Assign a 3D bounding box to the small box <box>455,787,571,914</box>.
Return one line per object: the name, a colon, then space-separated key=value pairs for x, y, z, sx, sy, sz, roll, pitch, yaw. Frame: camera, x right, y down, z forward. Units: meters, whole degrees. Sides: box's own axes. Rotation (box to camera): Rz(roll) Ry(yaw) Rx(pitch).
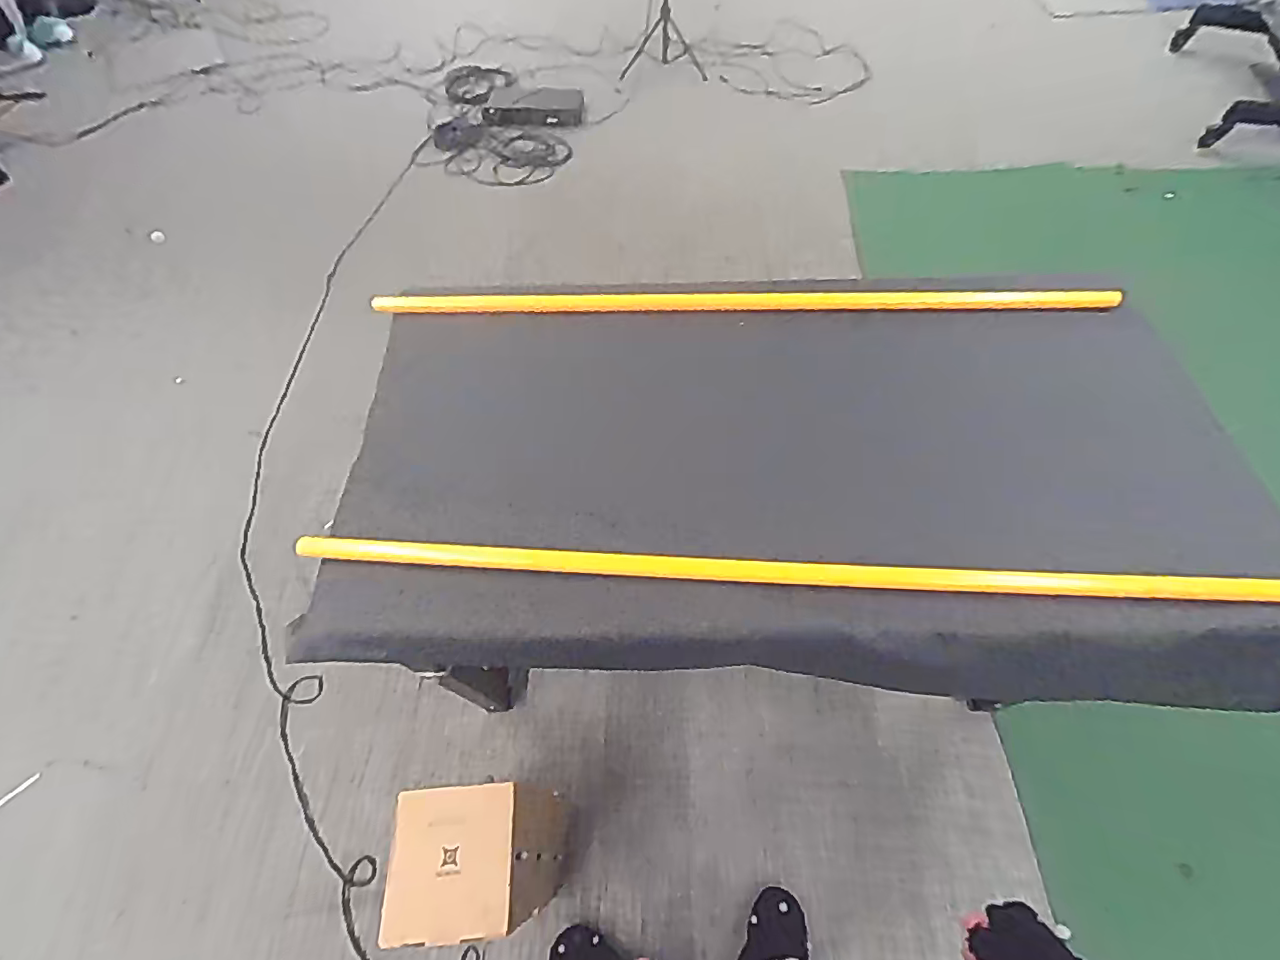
small box: x=-0.238 y=0.721 z=1.070 sx=0.168 sy=0.176 sz=0.179 roll=6 pitch=60 yaw=6
